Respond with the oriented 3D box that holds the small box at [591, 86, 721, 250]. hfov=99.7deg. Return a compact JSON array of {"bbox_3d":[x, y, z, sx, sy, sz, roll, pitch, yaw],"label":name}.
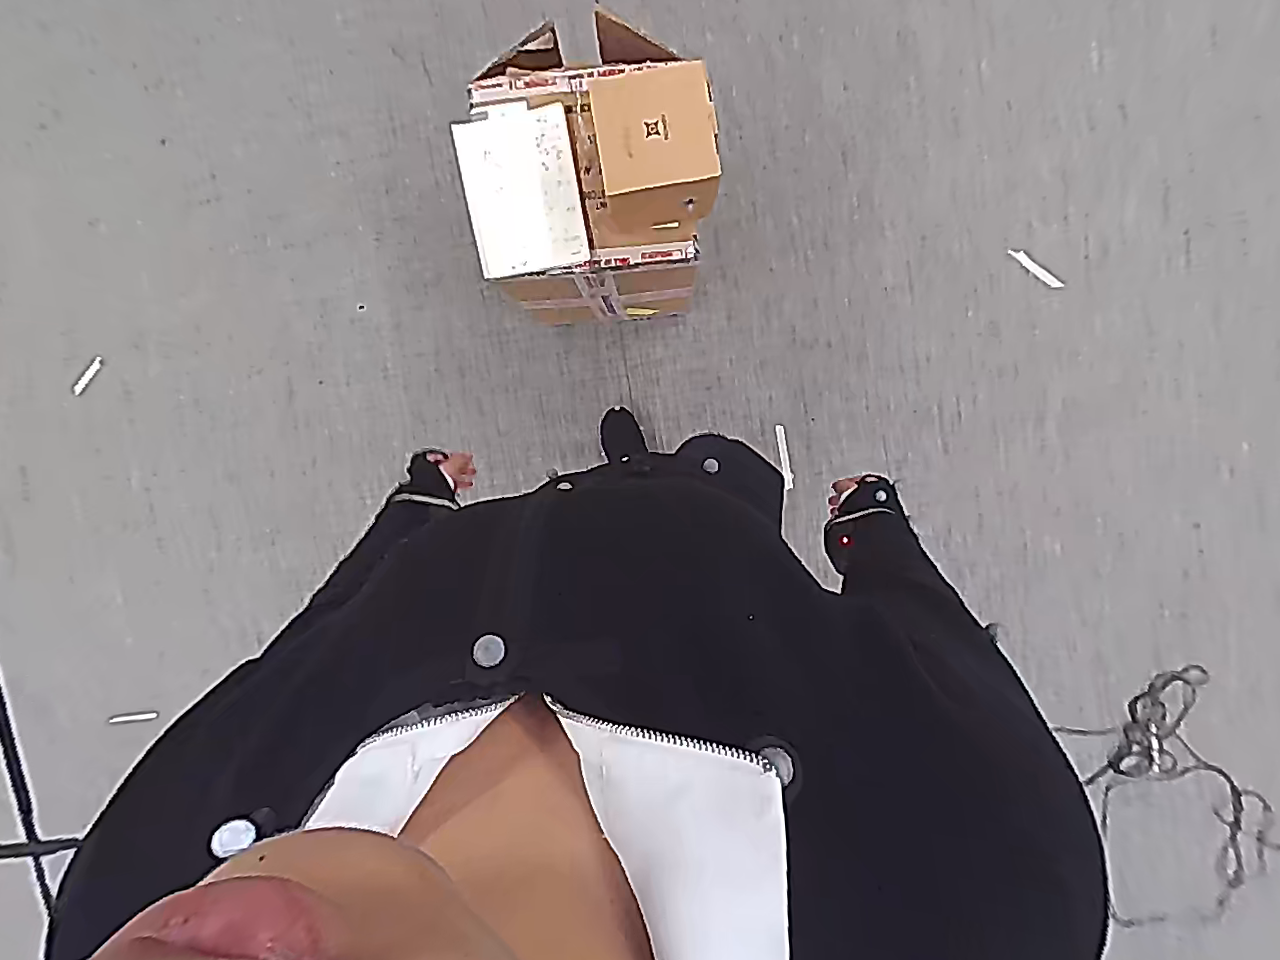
[{"bbox_3d":[0.025,-0.499,0.889,0.179,0.176,0.168,-10,95,3],"label":"small box"}]
